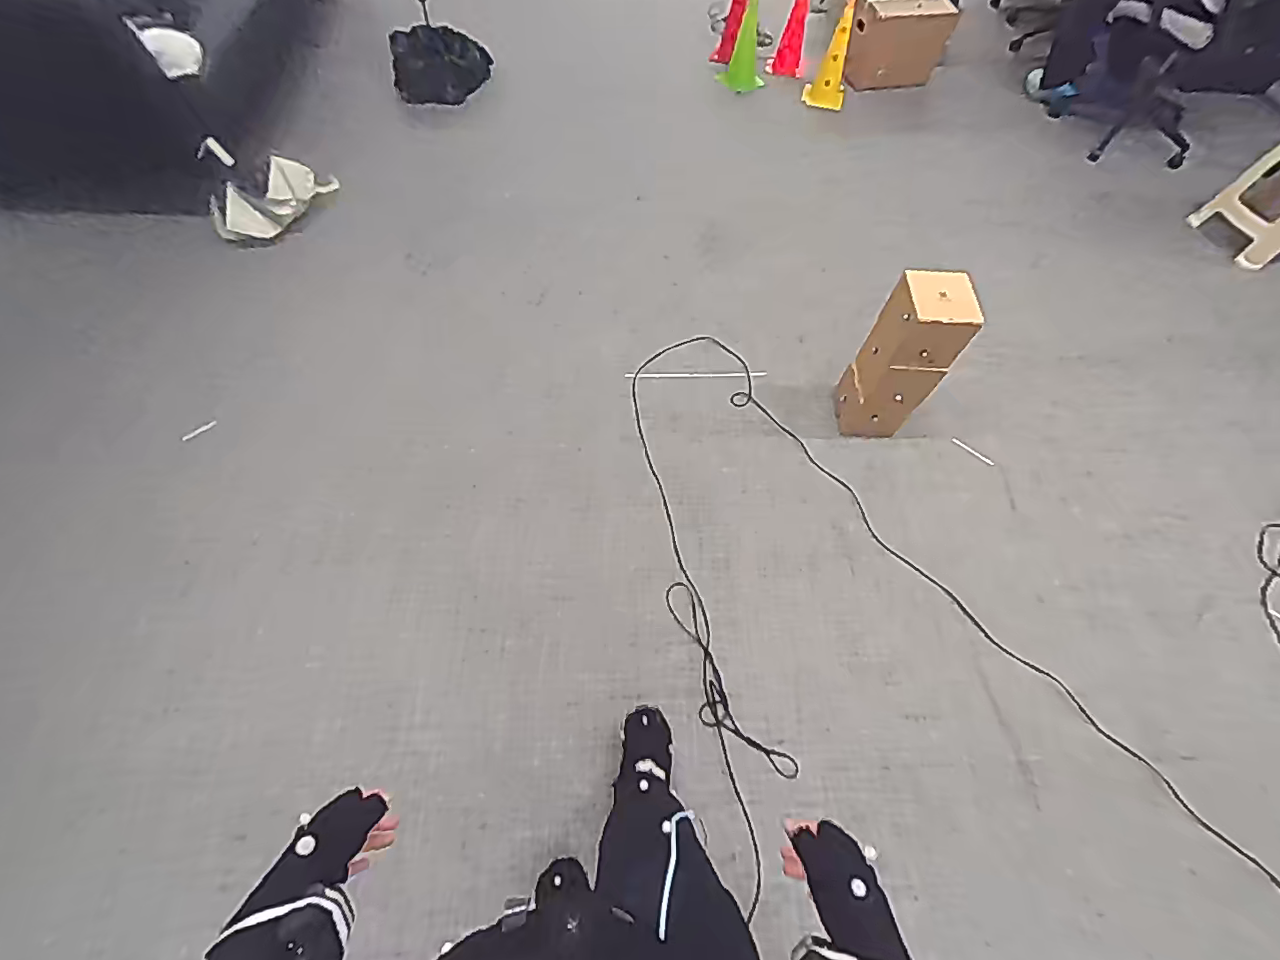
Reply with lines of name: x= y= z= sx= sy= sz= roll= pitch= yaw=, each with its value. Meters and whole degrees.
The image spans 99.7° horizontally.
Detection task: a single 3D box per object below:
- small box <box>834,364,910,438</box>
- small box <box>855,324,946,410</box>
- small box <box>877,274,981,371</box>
small box: x=0.723 y=-0.245 z=1.696 sx=0.179 sy=0.176 sz=0.168 roll=2 pitch=61 yaw=-1
small box: x=0.736 y=-0.324 z=1.552 sx=0.168 sy=0.176 sz=0.179 roll=2 pitch=62 yaw=-1
small box: x=0.743 y=-0.410 z=1.414 sx=0.168 sy=0.176 sz=0.179 roll=2 pitch=62 yaw=-2
